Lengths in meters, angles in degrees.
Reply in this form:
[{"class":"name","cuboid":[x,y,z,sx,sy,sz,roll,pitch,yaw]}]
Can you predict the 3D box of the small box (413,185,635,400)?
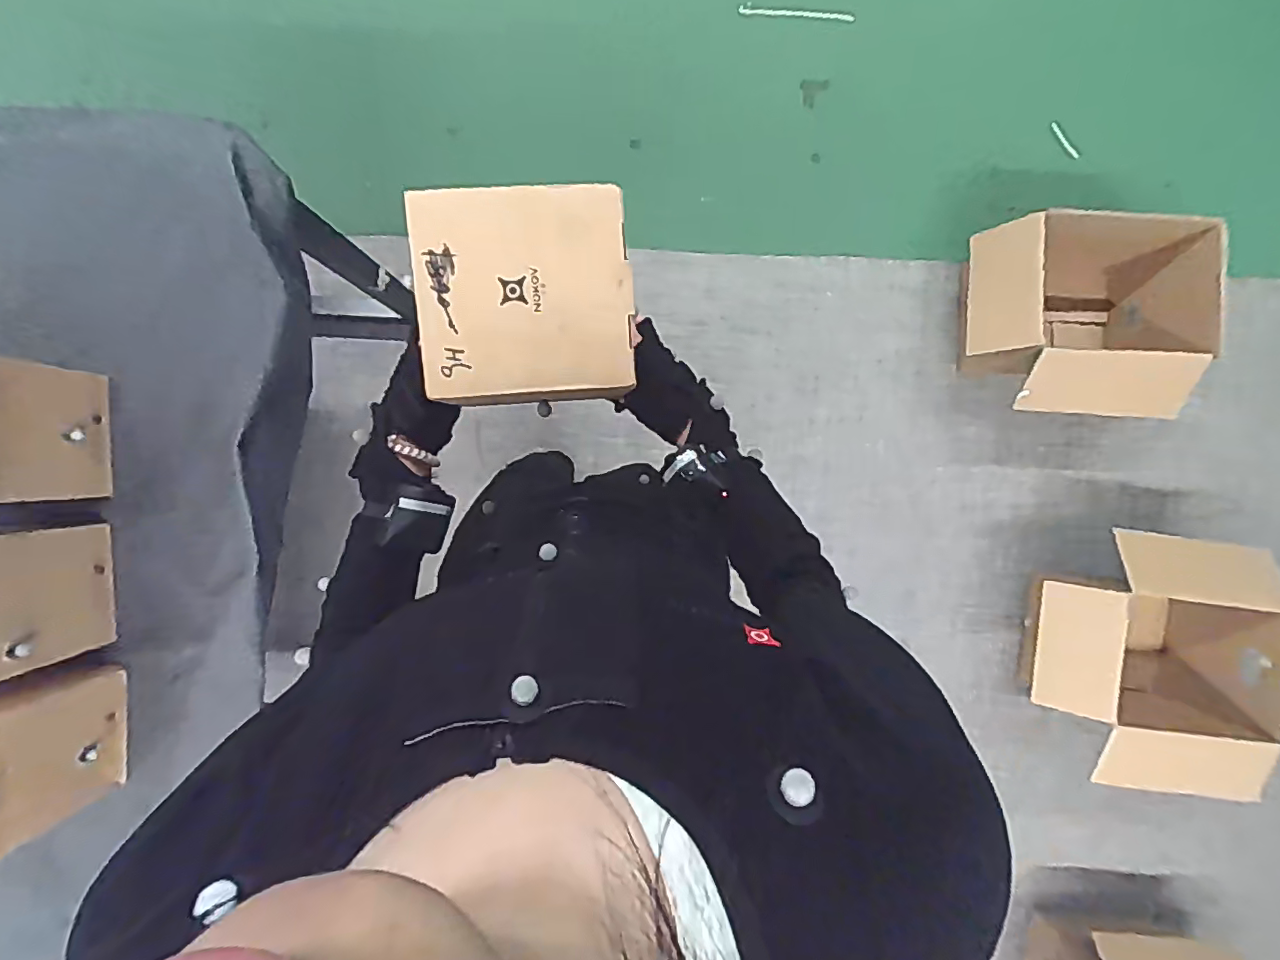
[{"class":"small box","cuboid":[-0.104,-0.167,0.530,0.179,0.176,0.168,-3,96,-6]}]
